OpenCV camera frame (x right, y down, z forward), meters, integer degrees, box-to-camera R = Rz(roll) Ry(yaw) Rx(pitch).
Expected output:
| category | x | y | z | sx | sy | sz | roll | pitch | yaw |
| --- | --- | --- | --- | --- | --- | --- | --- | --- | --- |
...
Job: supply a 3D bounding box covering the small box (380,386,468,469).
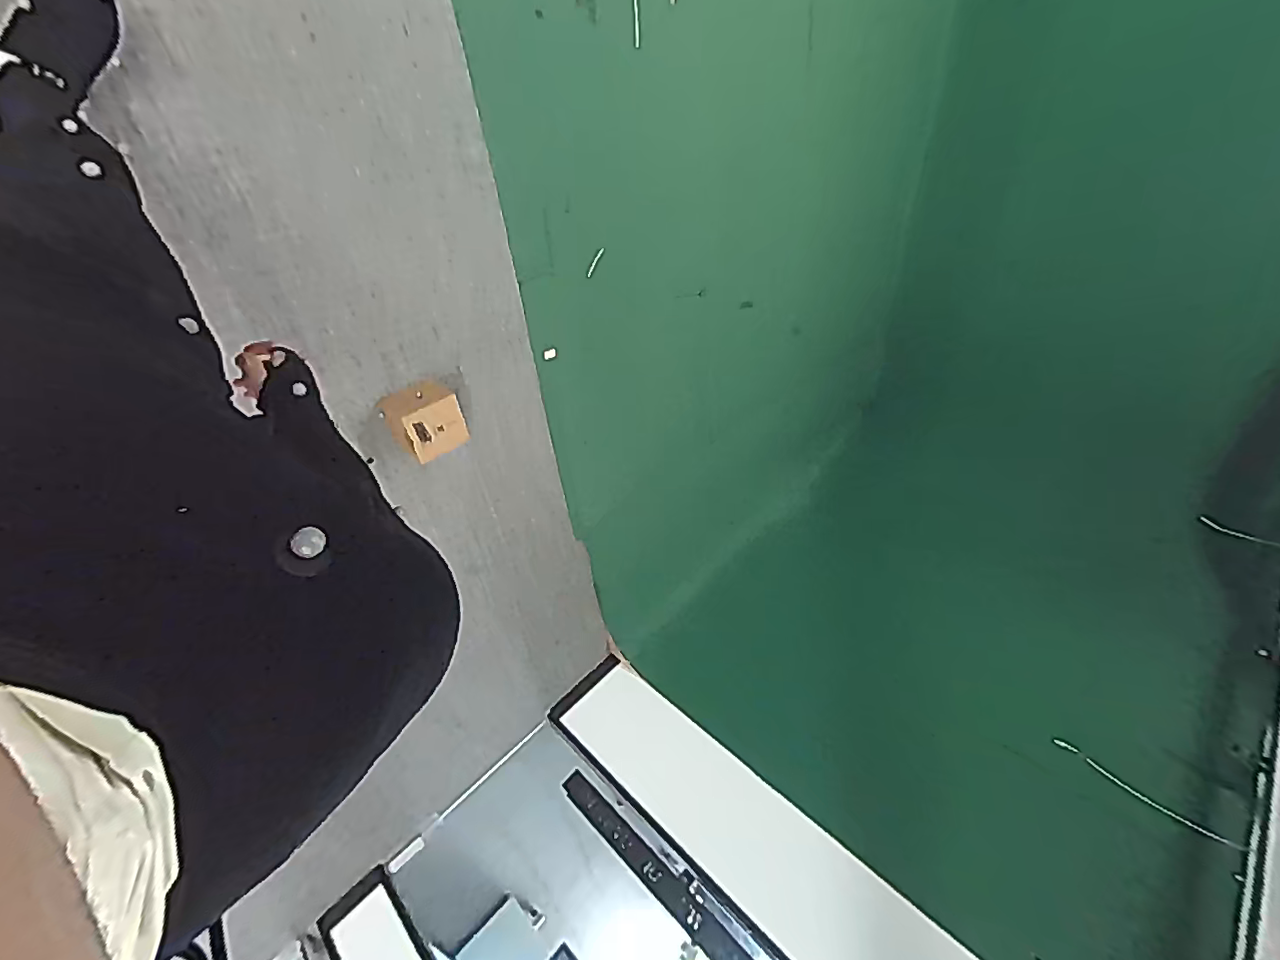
| category | x | y | z | sx | sy | sz | roll | pitch | yaw |
| --- | --- | --- | --- | --- | --- | --- | --- | --- | --- |
| small box | -0.659 | -0.165 | 1.640 | 0.179 | 0.176 | 0.168 | -36 | 136 | -33 |
